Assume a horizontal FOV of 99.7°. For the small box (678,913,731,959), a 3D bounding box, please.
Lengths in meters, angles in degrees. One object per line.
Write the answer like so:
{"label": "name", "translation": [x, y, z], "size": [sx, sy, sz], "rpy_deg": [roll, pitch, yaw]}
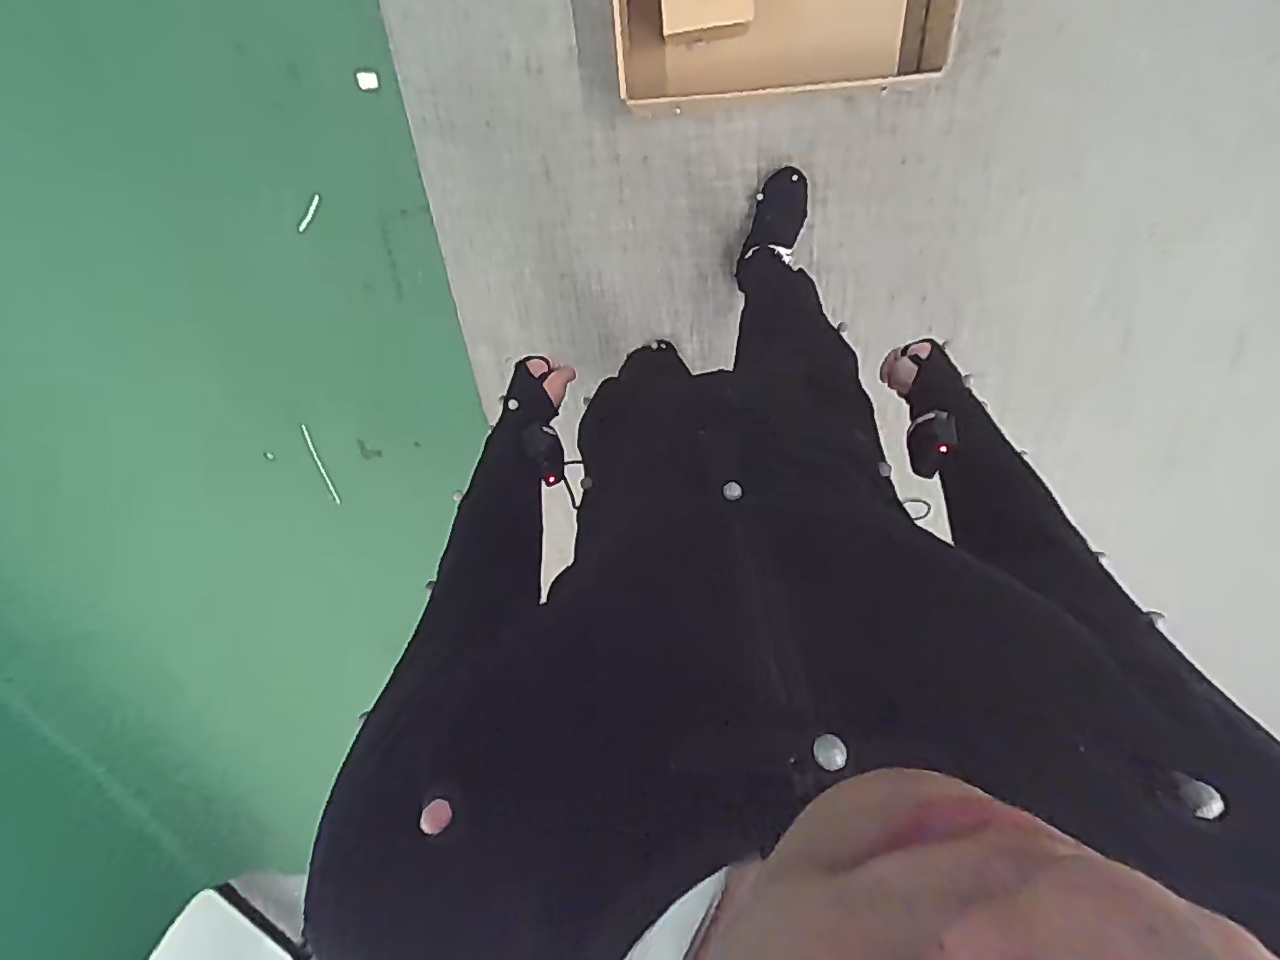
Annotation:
{"label": "small box", "translation": [0.215, 1.567, 1.777], "size": [0.168, 0.176, 0.179], "rpy_deg": [-1, 121, 8]}
